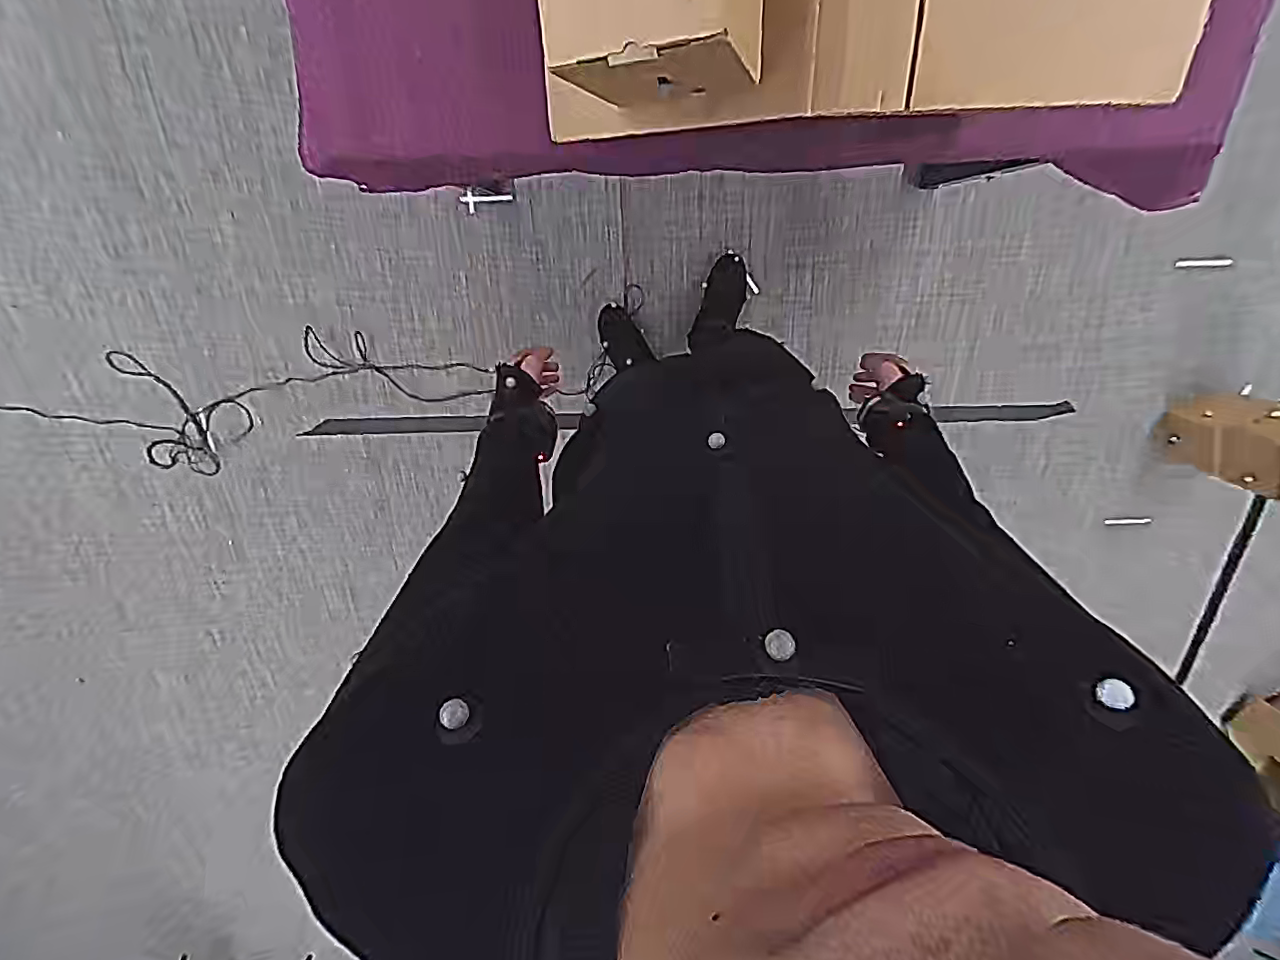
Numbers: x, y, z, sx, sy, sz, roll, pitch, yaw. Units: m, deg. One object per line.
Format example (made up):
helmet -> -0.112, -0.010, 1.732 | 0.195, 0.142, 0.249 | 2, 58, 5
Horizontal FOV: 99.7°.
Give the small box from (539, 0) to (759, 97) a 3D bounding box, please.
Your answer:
small box -> 0.015, -0.470, 0.492 | 0.168, 0.176, 0.179 | 6, 116, 19
